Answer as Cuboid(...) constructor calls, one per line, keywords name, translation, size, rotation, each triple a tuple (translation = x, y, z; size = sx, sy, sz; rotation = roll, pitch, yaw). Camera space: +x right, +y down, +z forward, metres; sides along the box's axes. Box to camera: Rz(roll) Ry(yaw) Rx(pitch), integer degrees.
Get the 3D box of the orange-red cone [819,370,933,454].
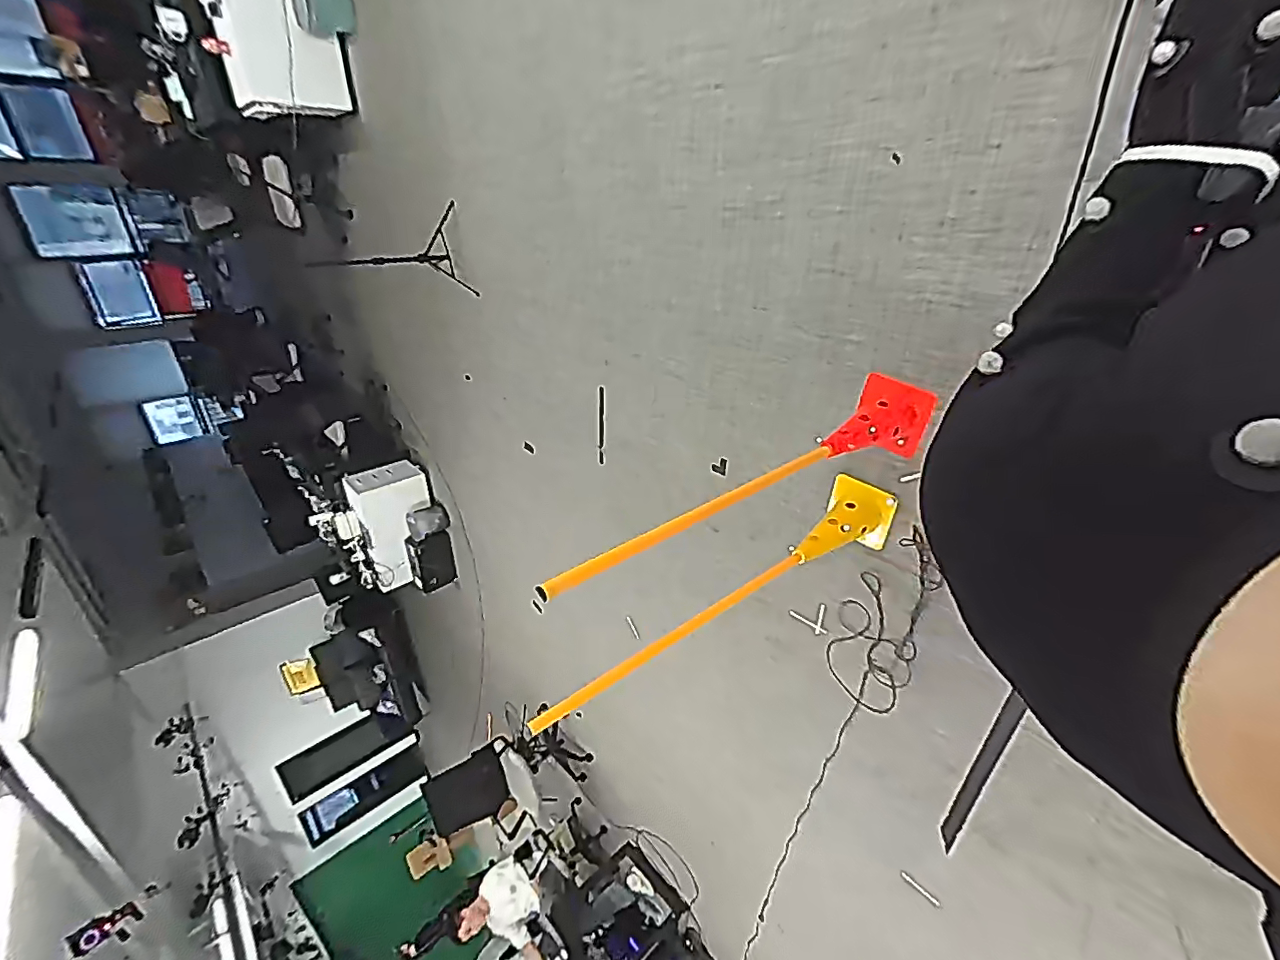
Cuboid(name="orange-red cone", translation=(0.573, -0.138, 1.411), size=(0.198, 0.360, 0.199), rotation=(34, 131, 34))
